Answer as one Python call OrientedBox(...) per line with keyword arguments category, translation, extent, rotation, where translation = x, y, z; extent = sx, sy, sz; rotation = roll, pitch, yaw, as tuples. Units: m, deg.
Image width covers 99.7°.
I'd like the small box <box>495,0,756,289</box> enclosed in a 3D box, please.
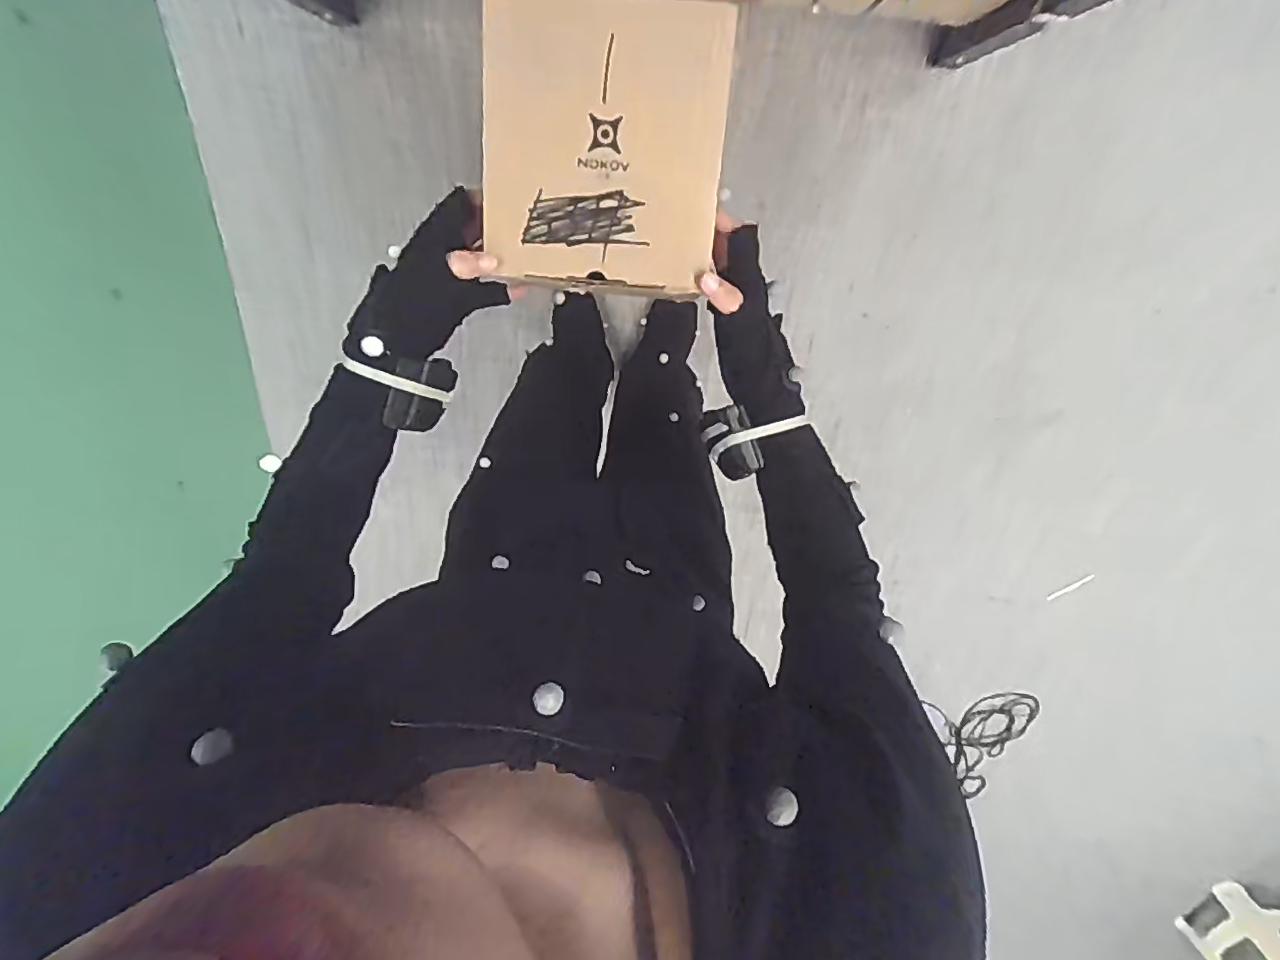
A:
OrientedBox(category="small box", translation=(-0.012, -0.256, 0.438), extent=(0.168, 0.176, 0.179), rotation=(5, 106, 0))
